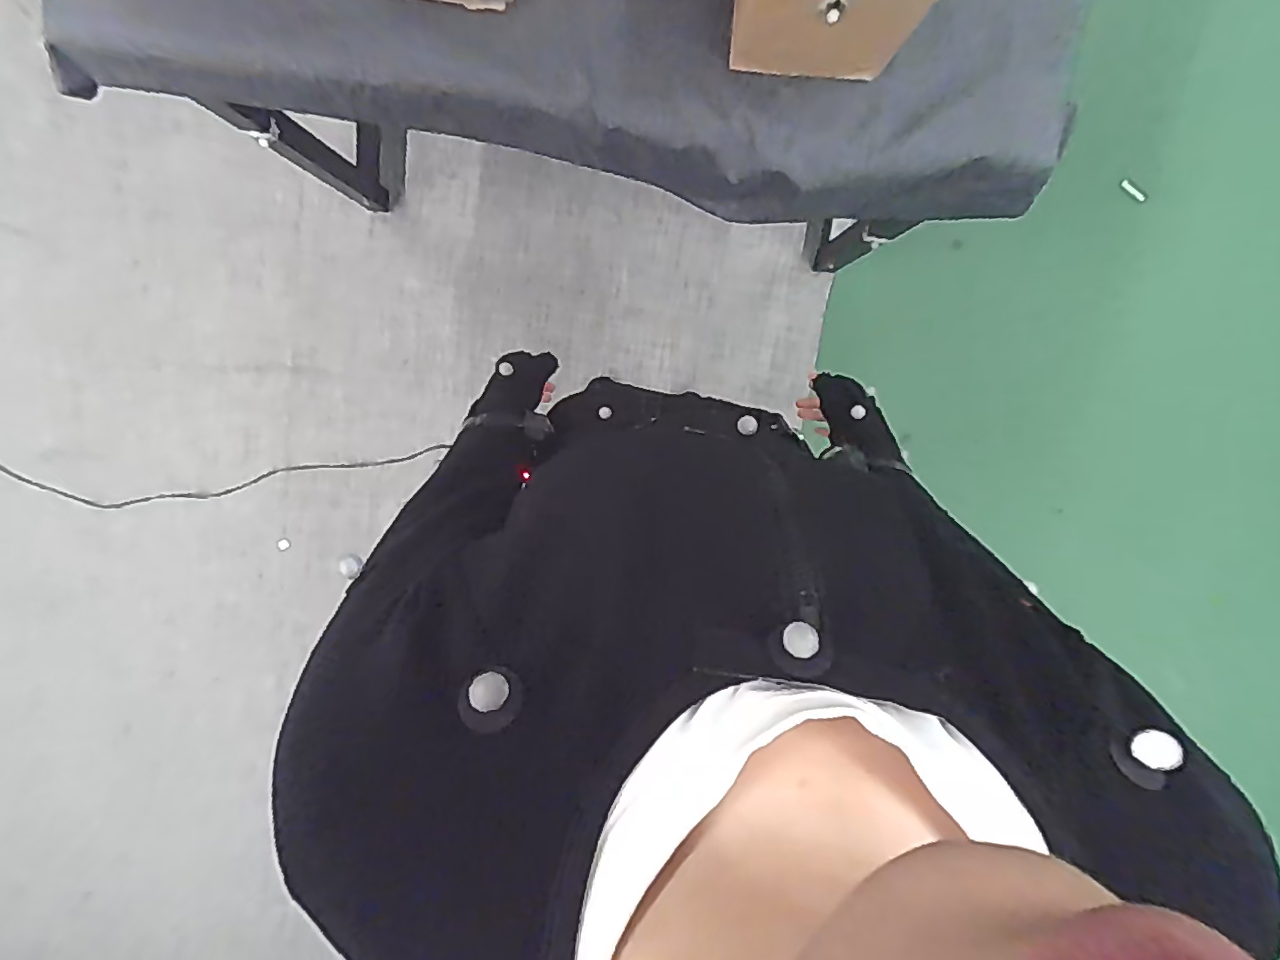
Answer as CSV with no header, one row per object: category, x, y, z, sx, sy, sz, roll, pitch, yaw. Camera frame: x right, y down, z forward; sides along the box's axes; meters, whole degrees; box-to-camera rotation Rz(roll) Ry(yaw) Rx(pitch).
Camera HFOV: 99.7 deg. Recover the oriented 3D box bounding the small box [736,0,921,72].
small box,0.202,-0.555,0.553,0.179,0.176,0.168,4,102,-2
